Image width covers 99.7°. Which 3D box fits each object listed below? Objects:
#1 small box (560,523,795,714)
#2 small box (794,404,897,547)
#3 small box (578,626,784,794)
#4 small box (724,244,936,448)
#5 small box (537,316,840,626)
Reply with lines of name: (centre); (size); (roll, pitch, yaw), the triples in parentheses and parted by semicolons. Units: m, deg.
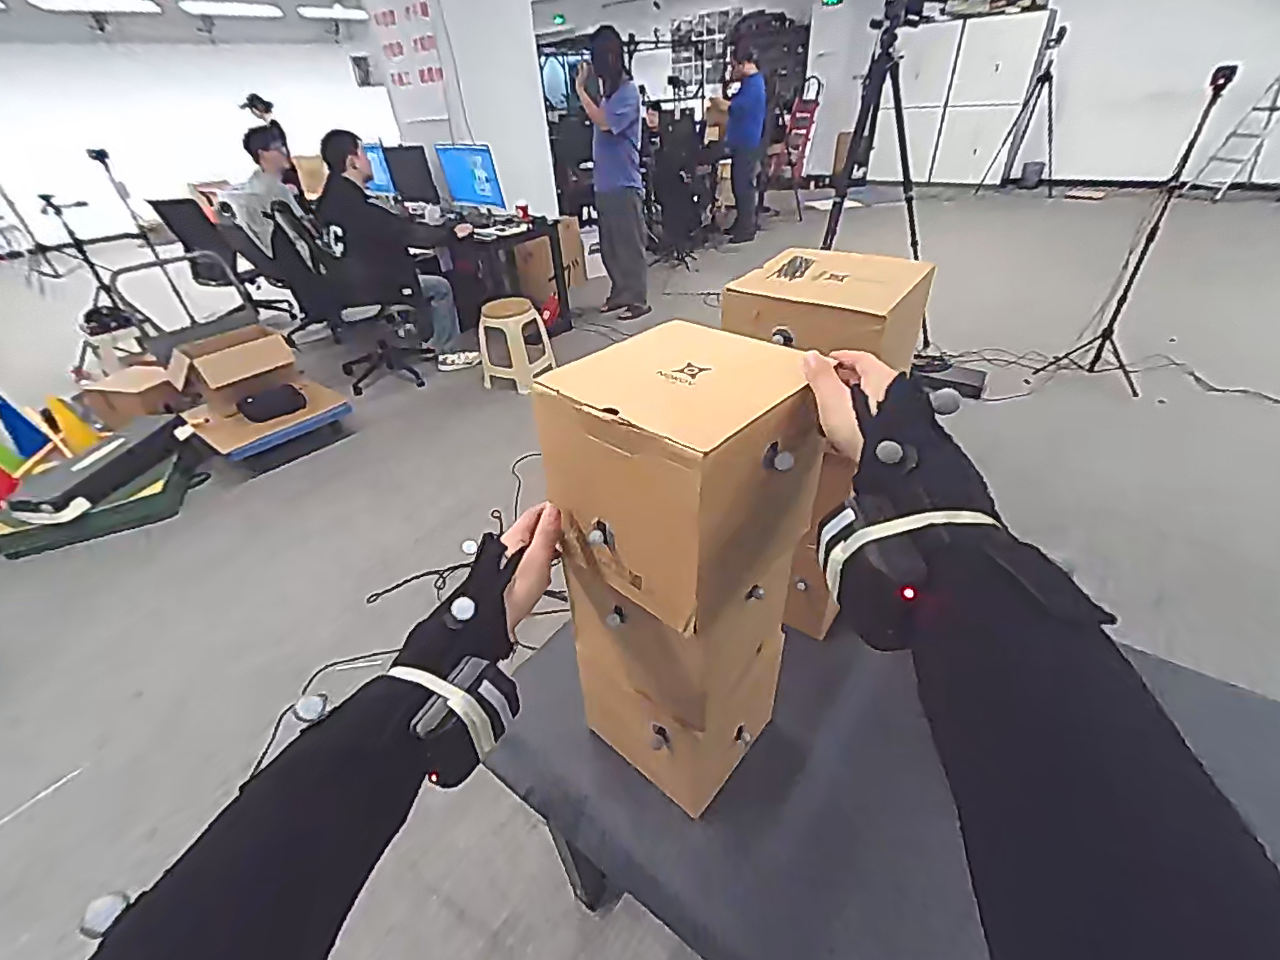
small box: (0.042, 0.104, 0.565); (0.179, 0.176, 0.168); (22, 42, 32)
small box: (0.225, -0.036, 0.739); (0.179, 0.176, 0.168); (22, 46, 29)
small box: (0.050, 0.240, 0.655); (0.179, 0.176, 0.168); (26, 43, 34)
small box: (0.210, -0.160, 0.632); (0.179, 0.176, 0.168); (24, 47, 31)
small box: (0.039, -0.018, 0.454); (0.168, 0.176, 0.179); (26, 45, 35)
